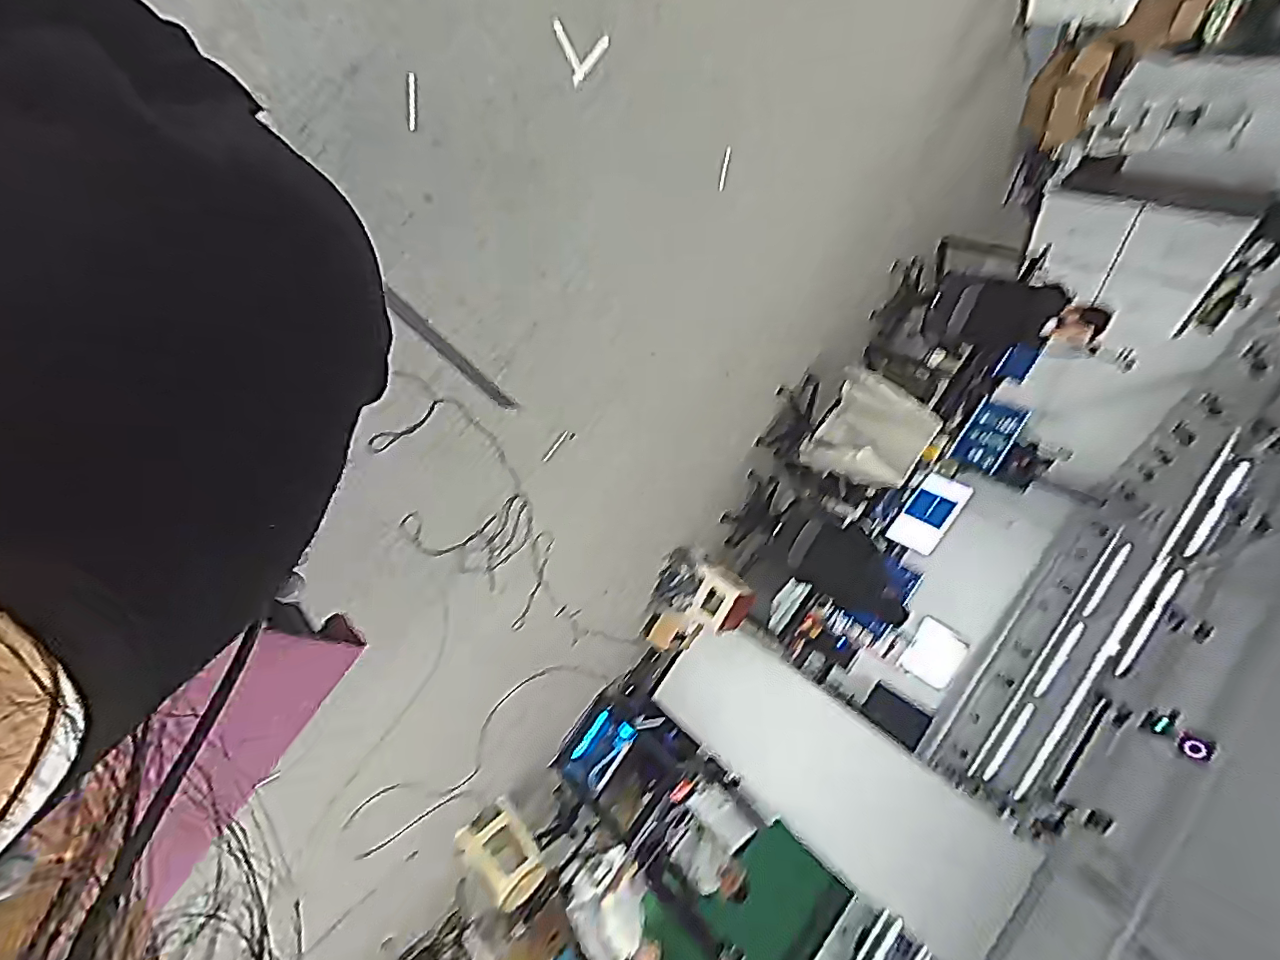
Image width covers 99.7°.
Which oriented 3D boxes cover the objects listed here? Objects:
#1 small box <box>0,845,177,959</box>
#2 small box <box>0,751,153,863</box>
[{"bbox_3d":[-0.640,0.530,0.562,0.179,0.176,0.168,-53,148,-6],"label":"small box"},{"bbox_3d":[-0.754,0.450,0.649,0.179,0.176,0.168,-53,148,-7],"label":"small box"}]
